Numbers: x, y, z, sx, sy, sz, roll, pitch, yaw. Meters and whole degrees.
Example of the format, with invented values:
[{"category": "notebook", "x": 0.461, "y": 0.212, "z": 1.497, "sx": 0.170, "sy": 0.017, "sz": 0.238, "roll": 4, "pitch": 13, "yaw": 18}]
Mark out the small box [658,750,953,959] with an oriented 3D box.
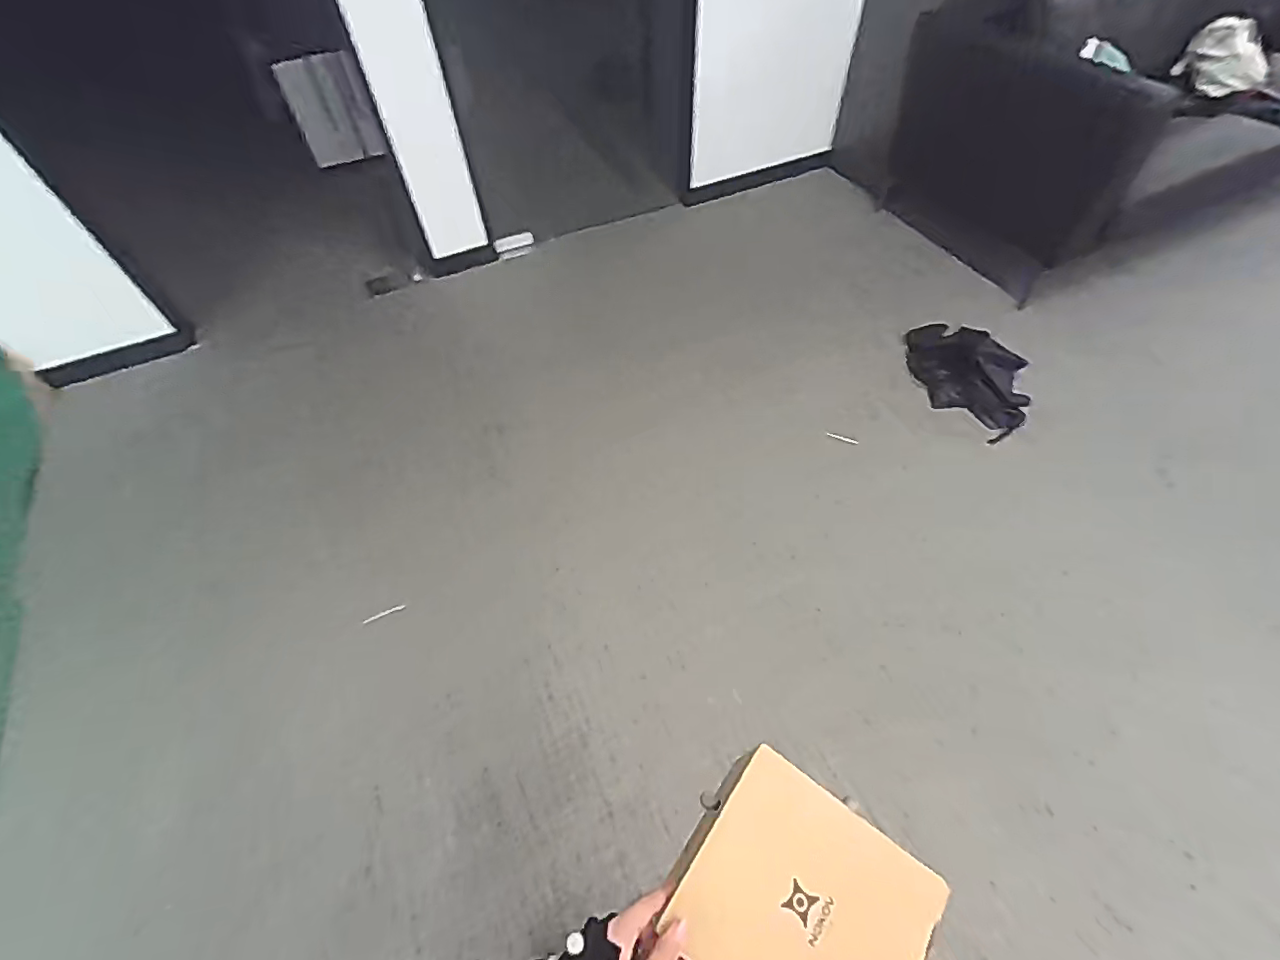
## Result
[{"category": "small box", "x": 0.128, "y": 0.379, "z": 0.482, "sx": 0.179, "sy": 0.176, "sz": 0.168, "roll": 32, "pitch": 62, "yaw": 18}]
